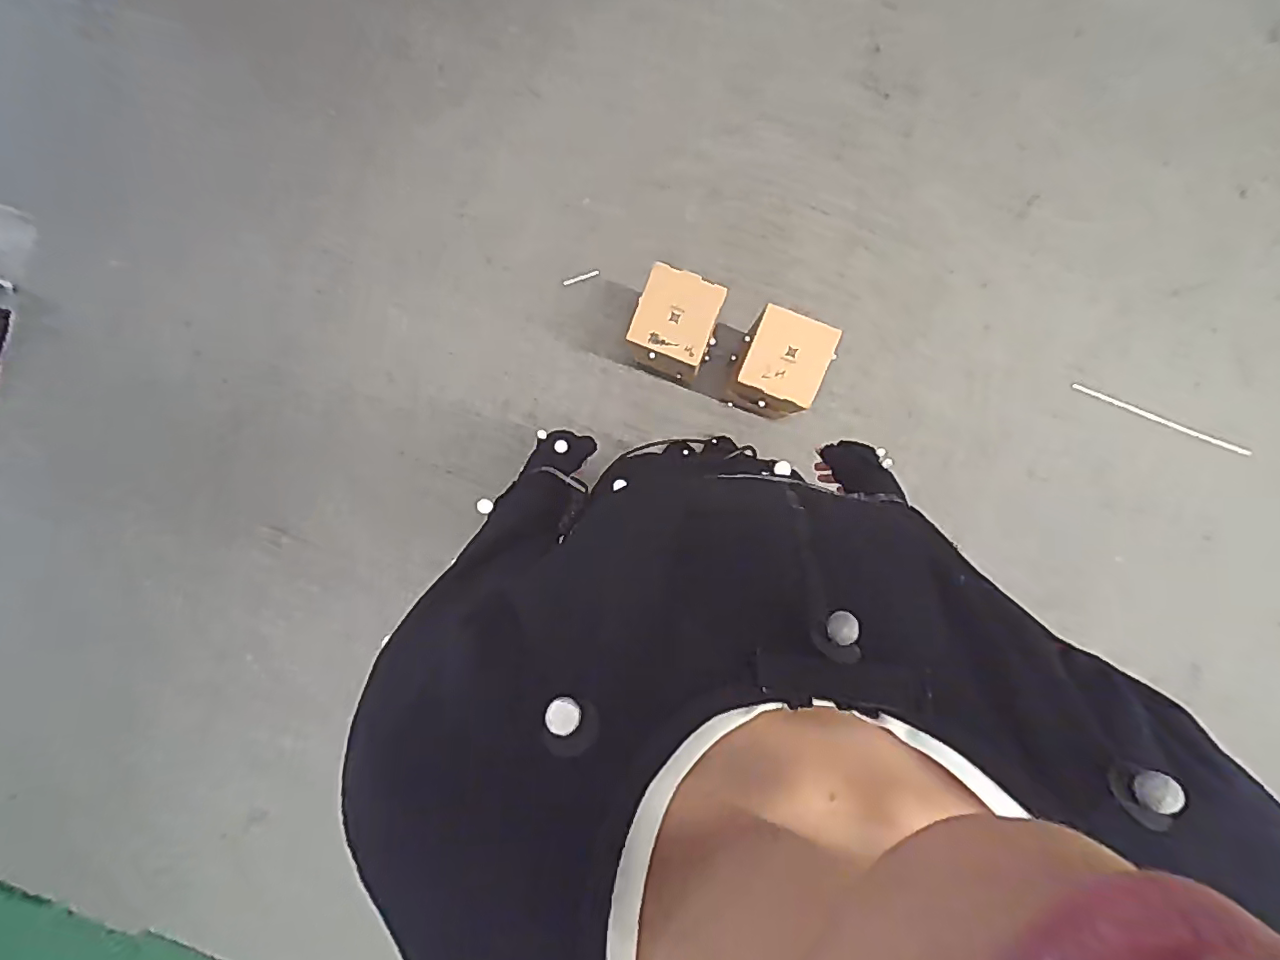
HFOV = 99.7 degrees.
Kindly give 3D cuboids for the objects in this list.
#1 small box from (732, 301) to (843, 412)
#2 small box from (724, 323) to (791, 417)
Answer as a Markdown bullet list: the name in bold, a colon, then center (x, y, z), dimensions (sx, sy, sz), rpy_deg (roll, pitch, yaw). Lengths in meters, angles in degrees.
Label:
- **small box**: center (0.315, -0.264, 1.197), dimensions (0.168, 0.176, 0.179), rpy_deg (23, 94, 1)
- **small box**: center (0.319, -0.267, 1.363), dimensions (0.168, 0.176, 0.179), rpy_deg (22, 94, 1)
